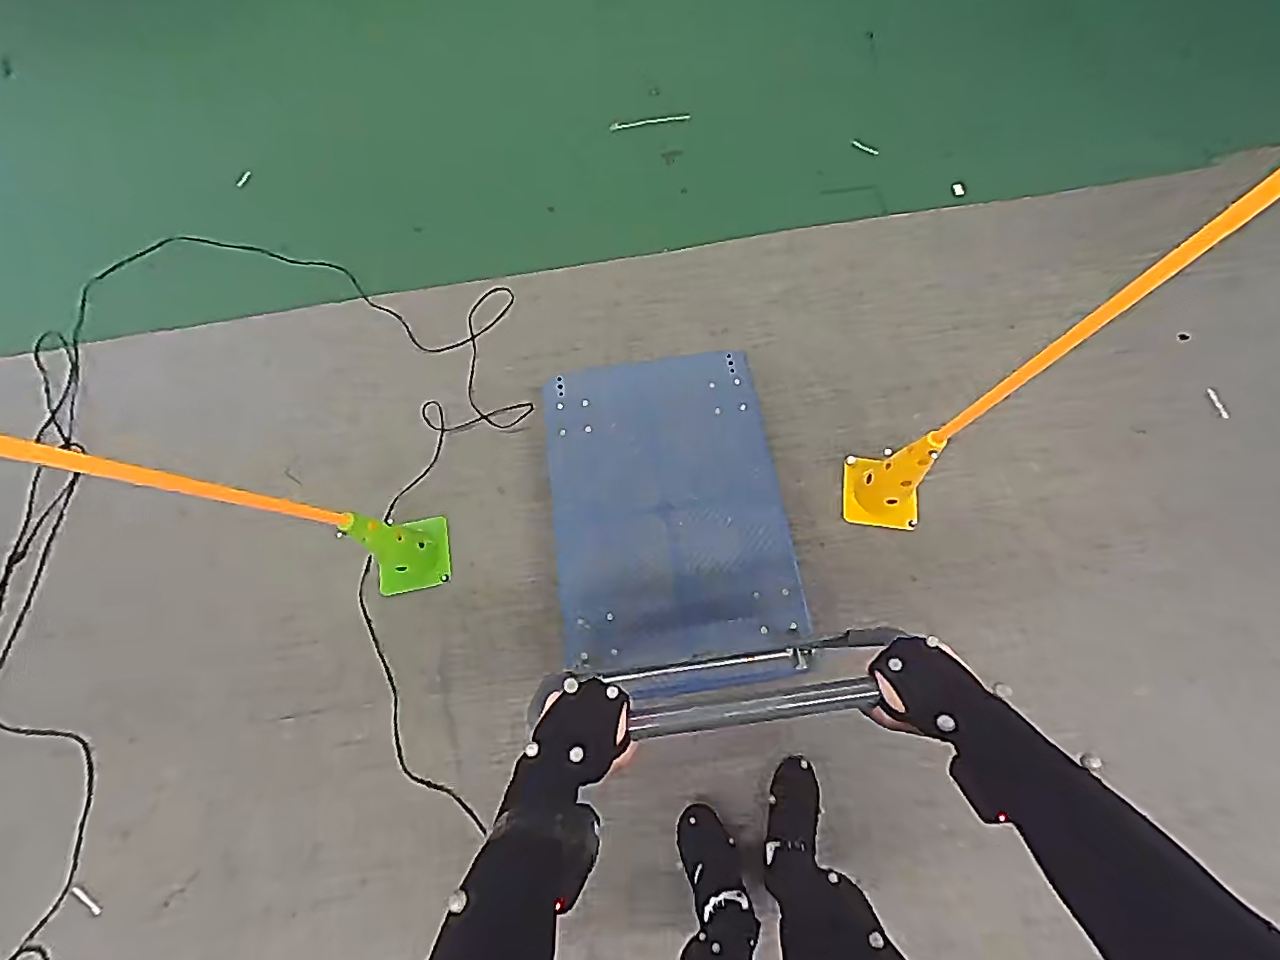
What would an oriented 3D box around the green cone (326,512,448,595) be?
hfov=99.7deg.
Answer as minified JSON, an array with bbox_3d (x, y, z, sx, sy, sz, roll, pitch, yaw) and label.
[{"bbox_3d":[-0.657,0.147,1.359,0.202,0.368,0.200,-13,69,0],"label":"green cone"}]
